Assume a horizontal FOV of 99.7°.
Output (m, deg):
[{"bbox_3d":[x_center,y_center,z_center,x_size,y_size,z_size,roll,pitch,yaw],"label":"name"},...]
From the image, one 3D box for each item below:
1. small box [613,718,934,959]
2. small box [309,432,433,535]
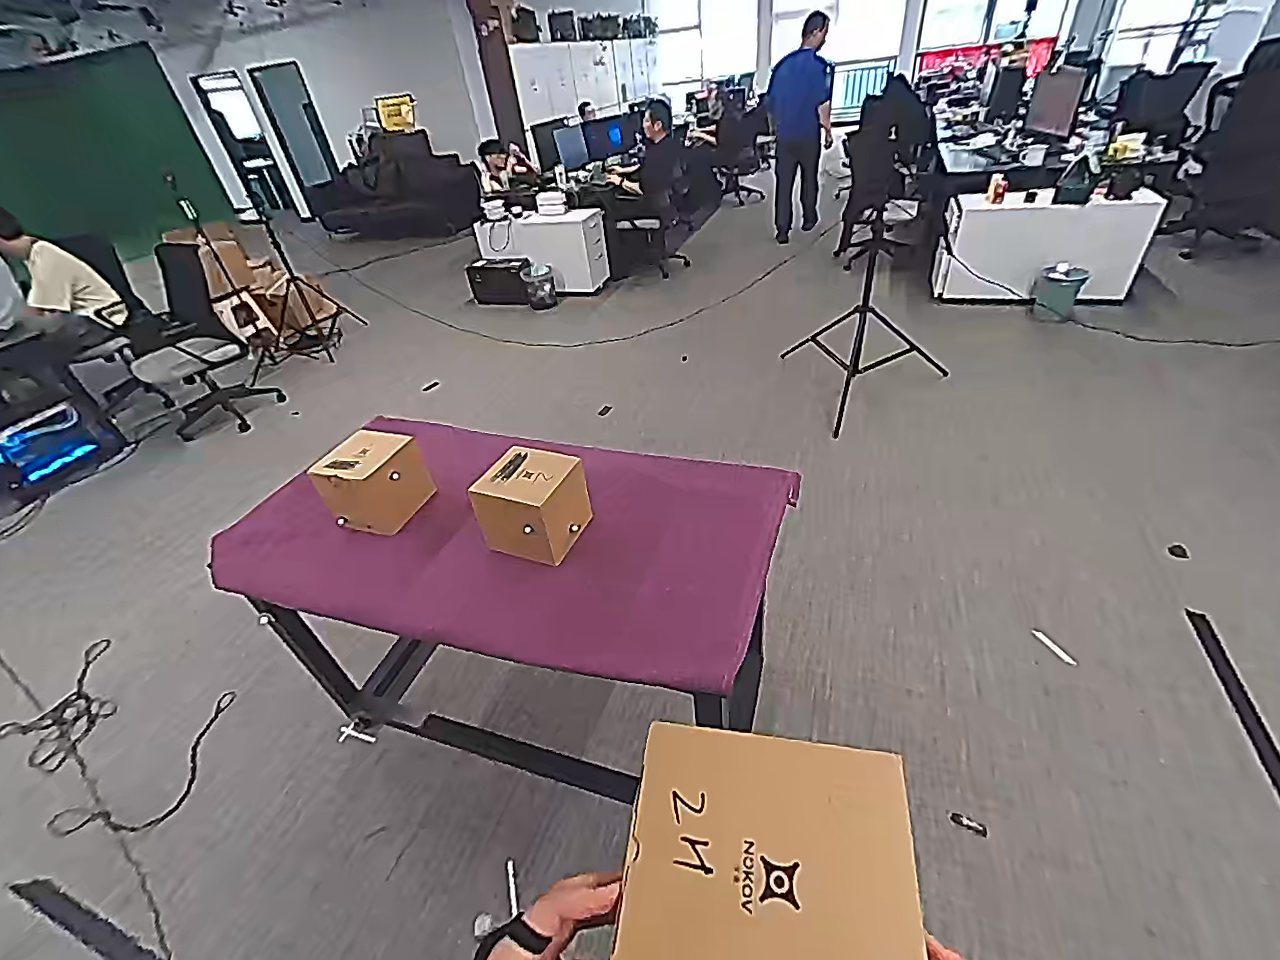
[{"bbox_3d":[0.091,0.294,0.385,0.179,0.176,0.168,1,46,14],"label":"small box"},{"bbox_3d":[-0.626,0.009,1.286,0.168,0.176,0.179,8,40,19],"label":"small box"}]
